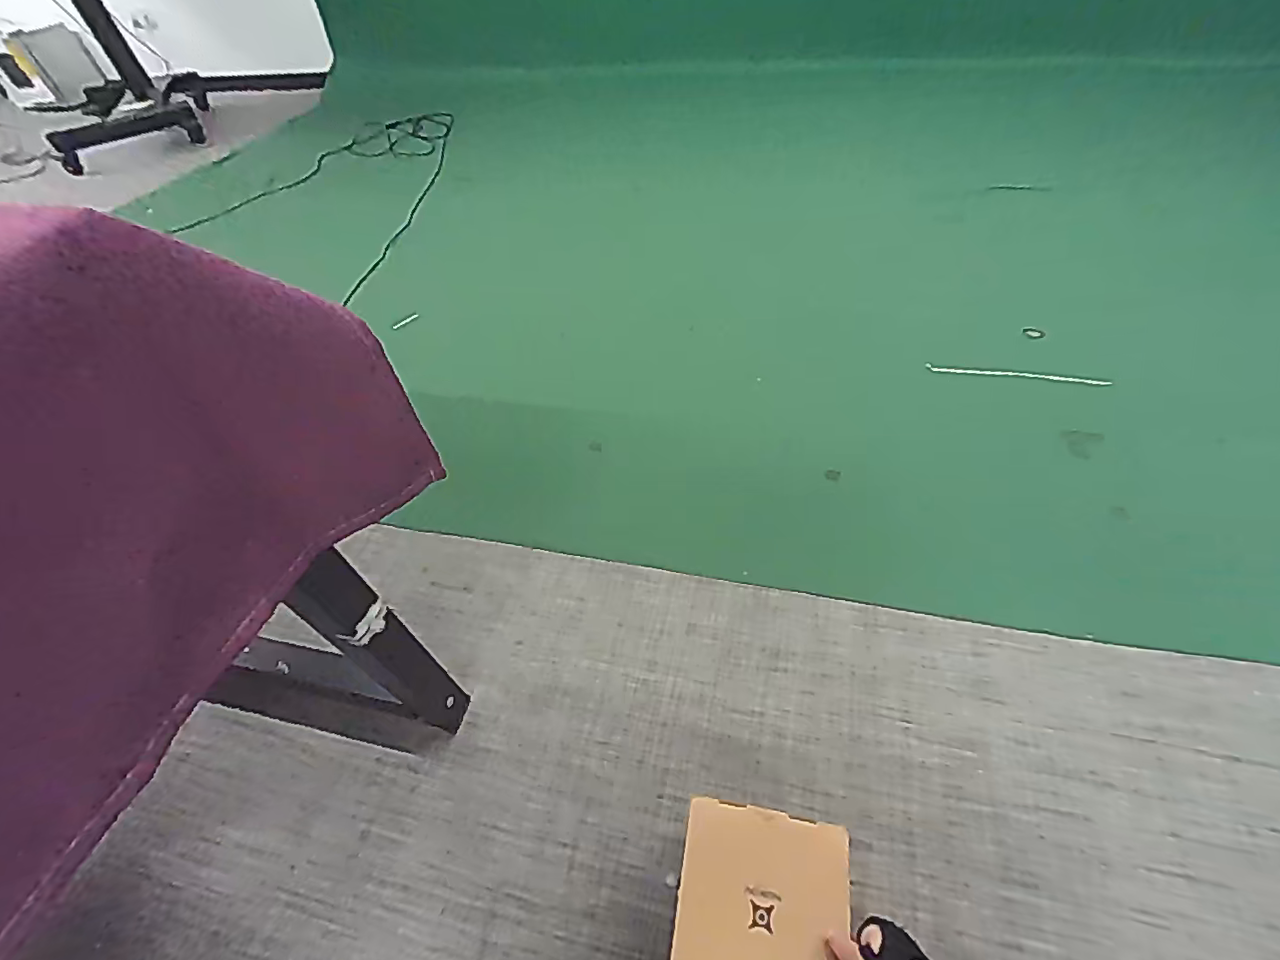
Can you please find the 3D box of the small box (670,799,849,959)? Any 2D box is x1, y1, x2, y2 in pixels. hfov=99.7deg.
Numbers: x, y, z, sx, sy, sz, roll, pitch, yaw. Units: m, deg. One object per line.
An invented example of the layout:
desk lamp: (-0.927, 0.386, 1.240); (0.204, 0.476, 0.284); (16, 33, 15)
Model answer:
small box: (0.125, 0.476, 0.586); (0.168, 0.176, 0.179); (6, 50, 10)
